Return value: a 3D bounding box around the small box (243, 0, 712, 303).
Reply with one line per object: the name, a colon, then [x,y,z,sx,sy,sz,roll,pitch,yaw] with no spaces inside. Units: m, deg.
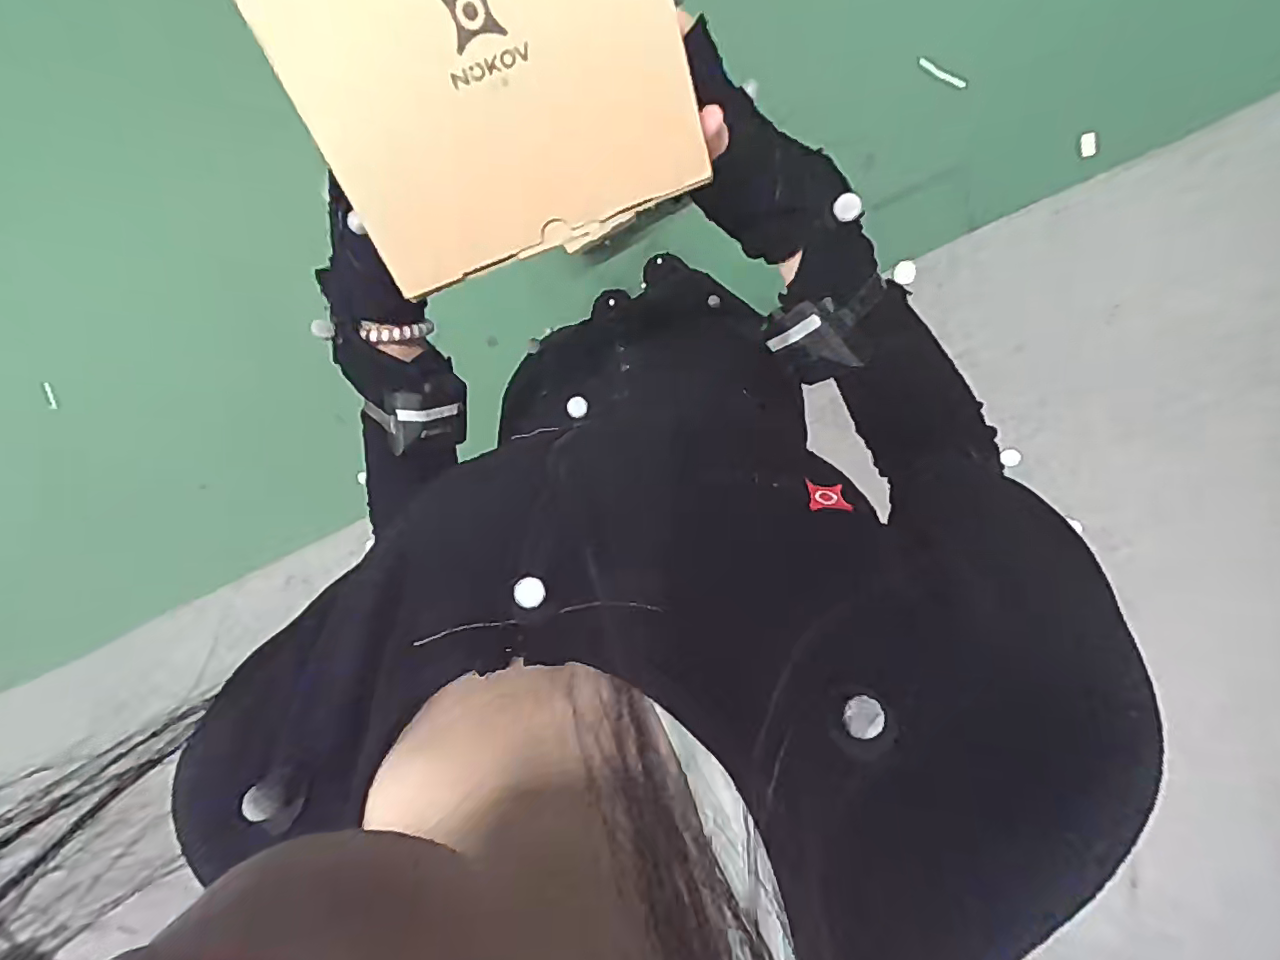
small box: [-0.080,-0.225,0.294,0.168,0.176,0.179,-22,124,2]
